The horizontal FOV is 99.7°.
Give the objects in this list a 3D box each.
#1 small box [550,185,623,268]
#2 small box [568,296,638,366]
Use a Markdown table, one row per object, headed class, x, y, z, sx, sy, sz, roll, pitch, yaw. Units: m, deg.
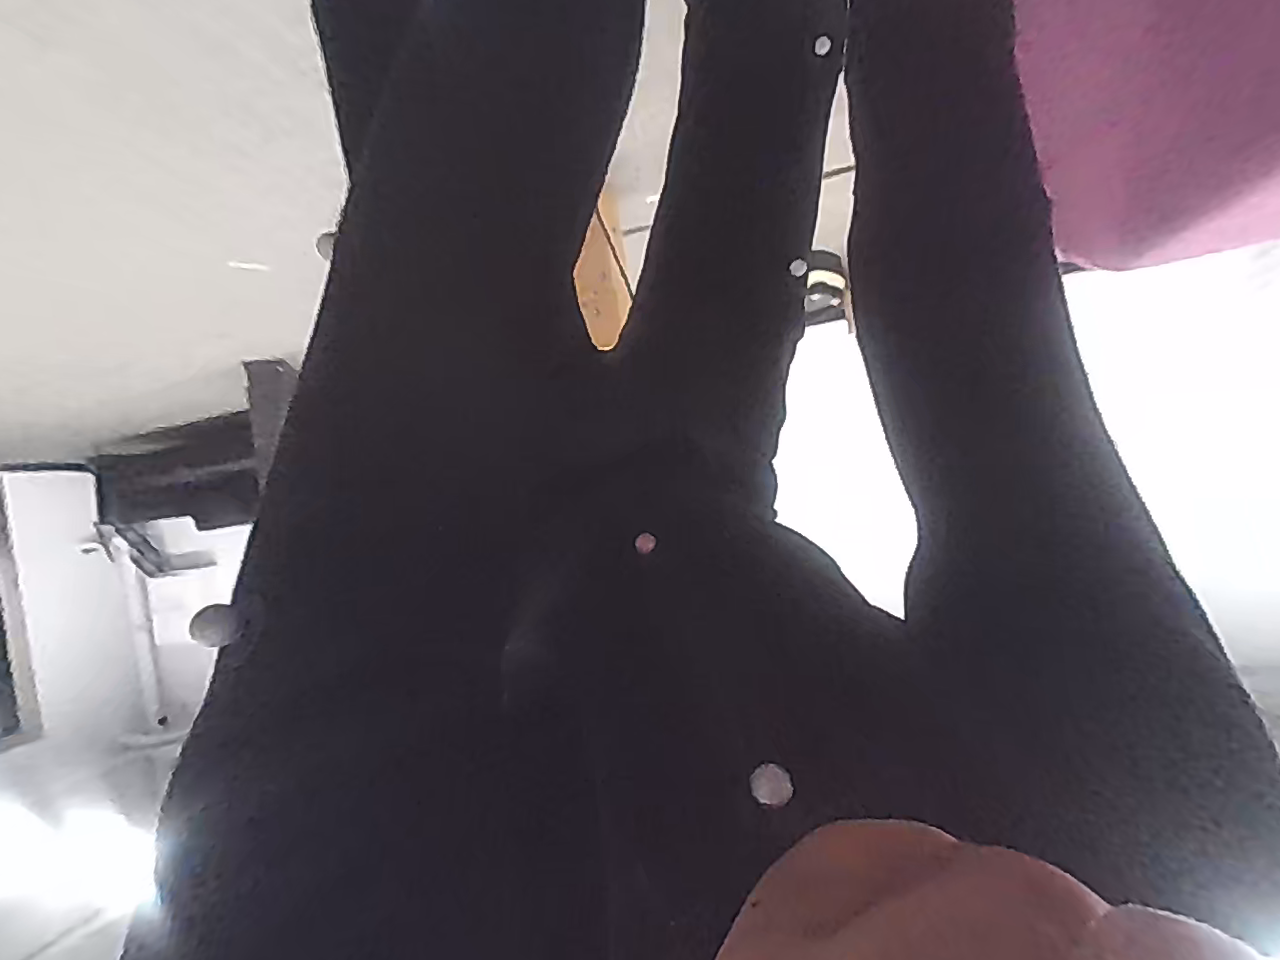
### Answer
| class | x | y | z | sx | sy | sz | roll | pitch | yaw |
| --- | --- | --- | --- | --- | --- | --- | --- | --- | --- |
| small box | -0.166 | -0.793 | 1.700 | 0.168 | 0.176 | 0.179 | -8 | 180 | 20 |
| small box | -0.114 | -0.469 | 1.710 | 0.168 | 0.176 | 0.179 | -7 | -179 | 17 |
